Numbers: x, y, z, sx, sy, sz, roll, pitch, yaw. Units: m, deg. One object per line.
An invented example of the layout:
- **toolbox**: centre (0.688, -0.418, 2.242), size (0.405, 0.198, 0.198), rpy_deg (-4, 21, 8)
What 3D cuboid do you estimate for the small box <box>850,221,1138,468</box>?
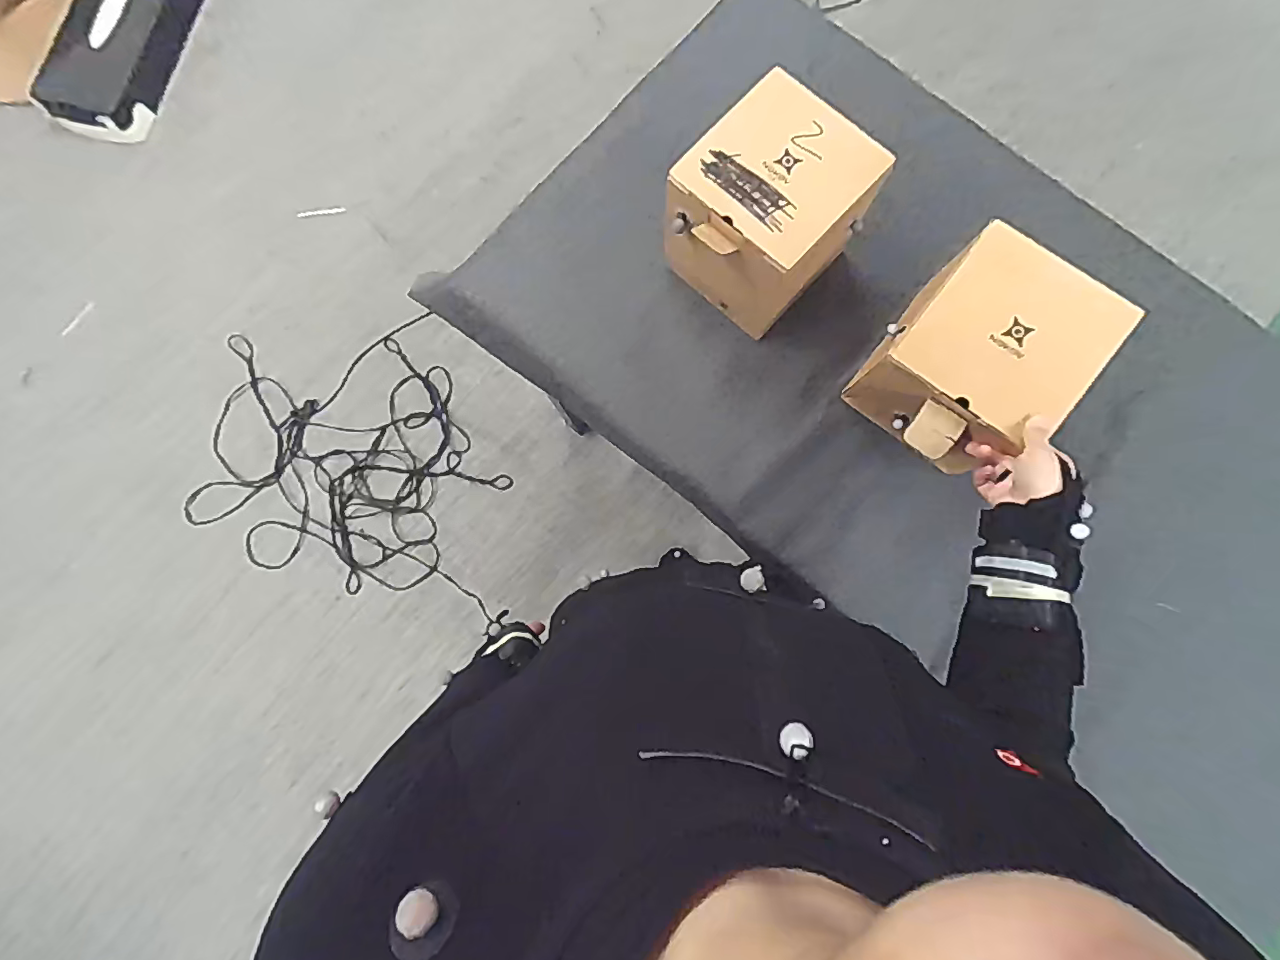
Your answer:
- **small box**: centre (0.364, -0.133, 0.598), size (0.168, 0.176, 0.179), rpy_deg (38, 89, 7)
